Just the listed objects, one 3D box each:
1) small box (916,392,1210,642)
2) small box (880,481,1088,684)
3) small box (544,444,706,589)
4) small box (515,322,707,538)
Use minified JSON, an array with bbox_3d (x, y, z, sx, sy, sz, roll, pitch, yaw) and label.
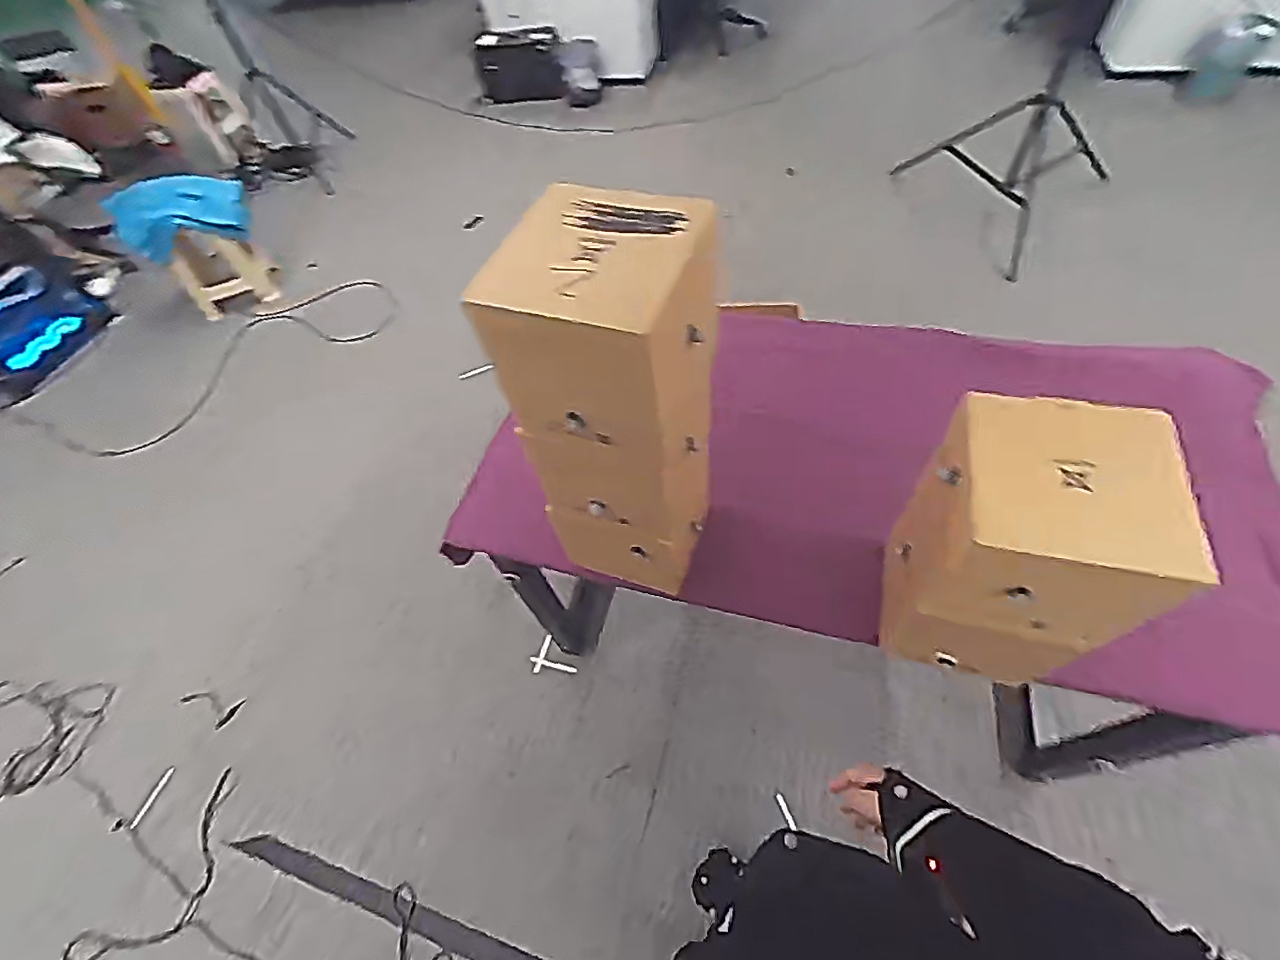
[{"bbox_3d":[0.383,0.040,0.532,0.168,0.176,0.179,9,57,15],"label":"small box"},{"bbox_3d":[0.404,0.128,0.667,0.168,0.176,0.179,10,59,16],"label":"small box"},{"bbox_3d":[-0.009,0.040,0.782,0.179,0.176,0.168,14,59,17],"label":"small box"},{"bbox_3d":[-0.021,-0.058,0.651,0.168,0.176,0.179,13,60,16],"label":"small box"}]
